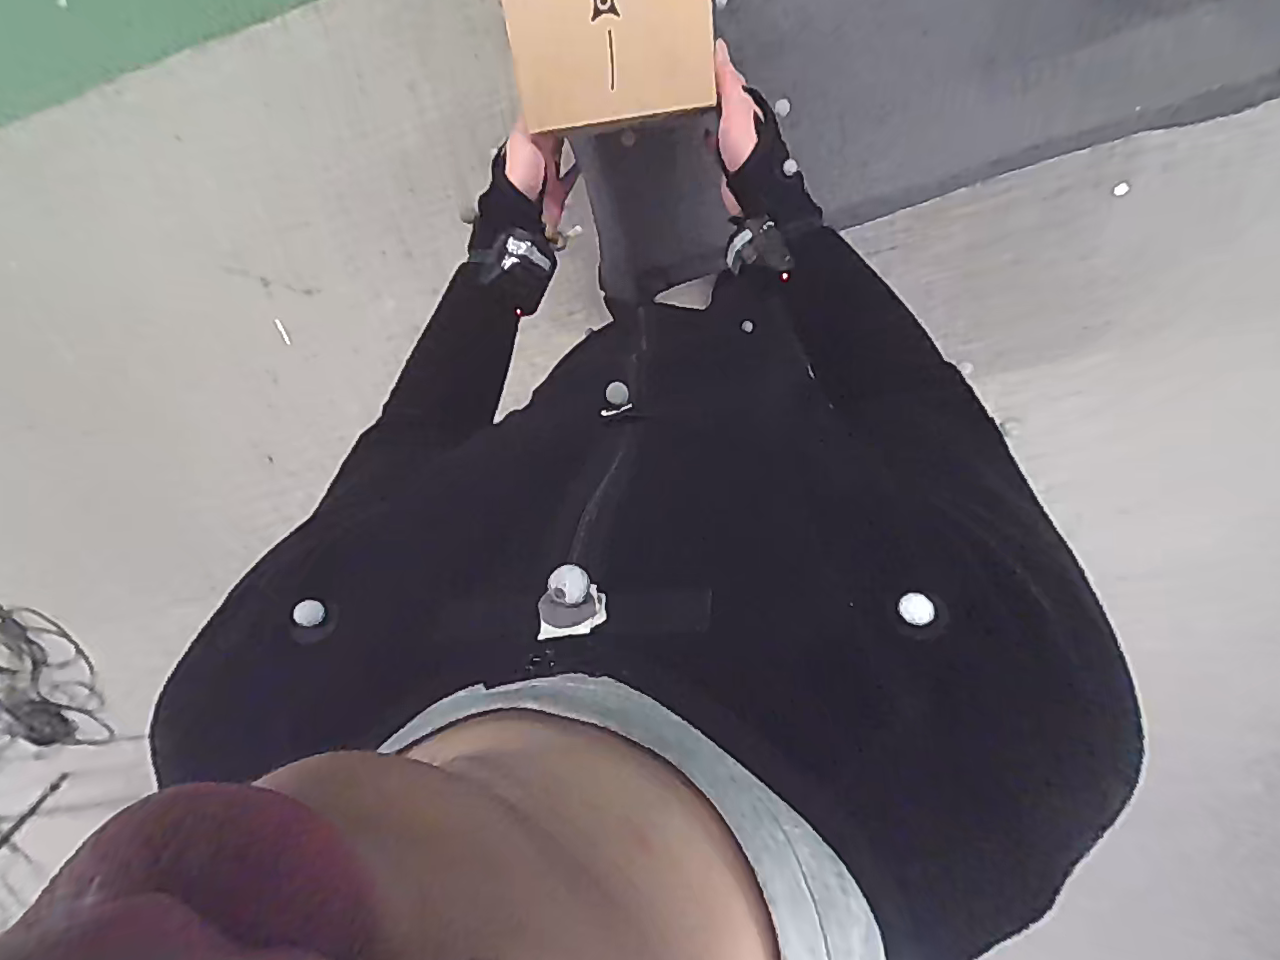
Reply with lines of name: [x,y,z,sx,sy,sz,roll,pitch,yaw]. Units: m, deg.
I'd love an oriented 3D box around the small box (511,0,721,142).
small box: [-0.015,-0.419,0.491,0.168,0.176,0.179,-3,122,8]
